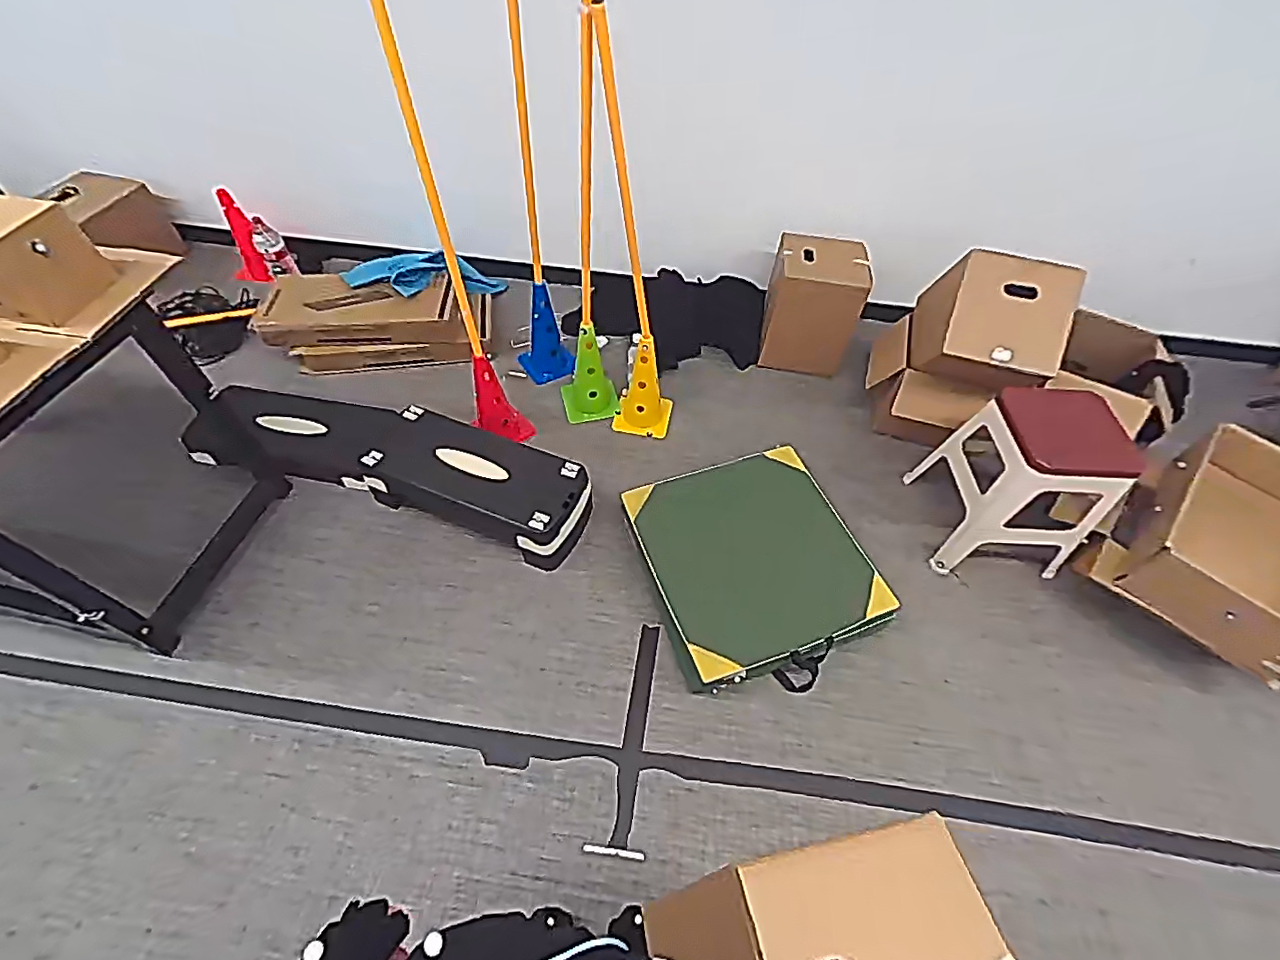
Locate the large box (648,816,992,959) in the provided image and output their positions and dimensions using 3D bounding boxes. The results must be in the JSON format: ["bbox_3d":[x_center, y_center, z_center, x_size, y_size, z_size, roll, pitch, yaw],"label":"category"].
[{"bbox_3d":[0.236,0.697,0.719,0.320,0.408,0.320,0,48,-19],"label":"large box"}]
